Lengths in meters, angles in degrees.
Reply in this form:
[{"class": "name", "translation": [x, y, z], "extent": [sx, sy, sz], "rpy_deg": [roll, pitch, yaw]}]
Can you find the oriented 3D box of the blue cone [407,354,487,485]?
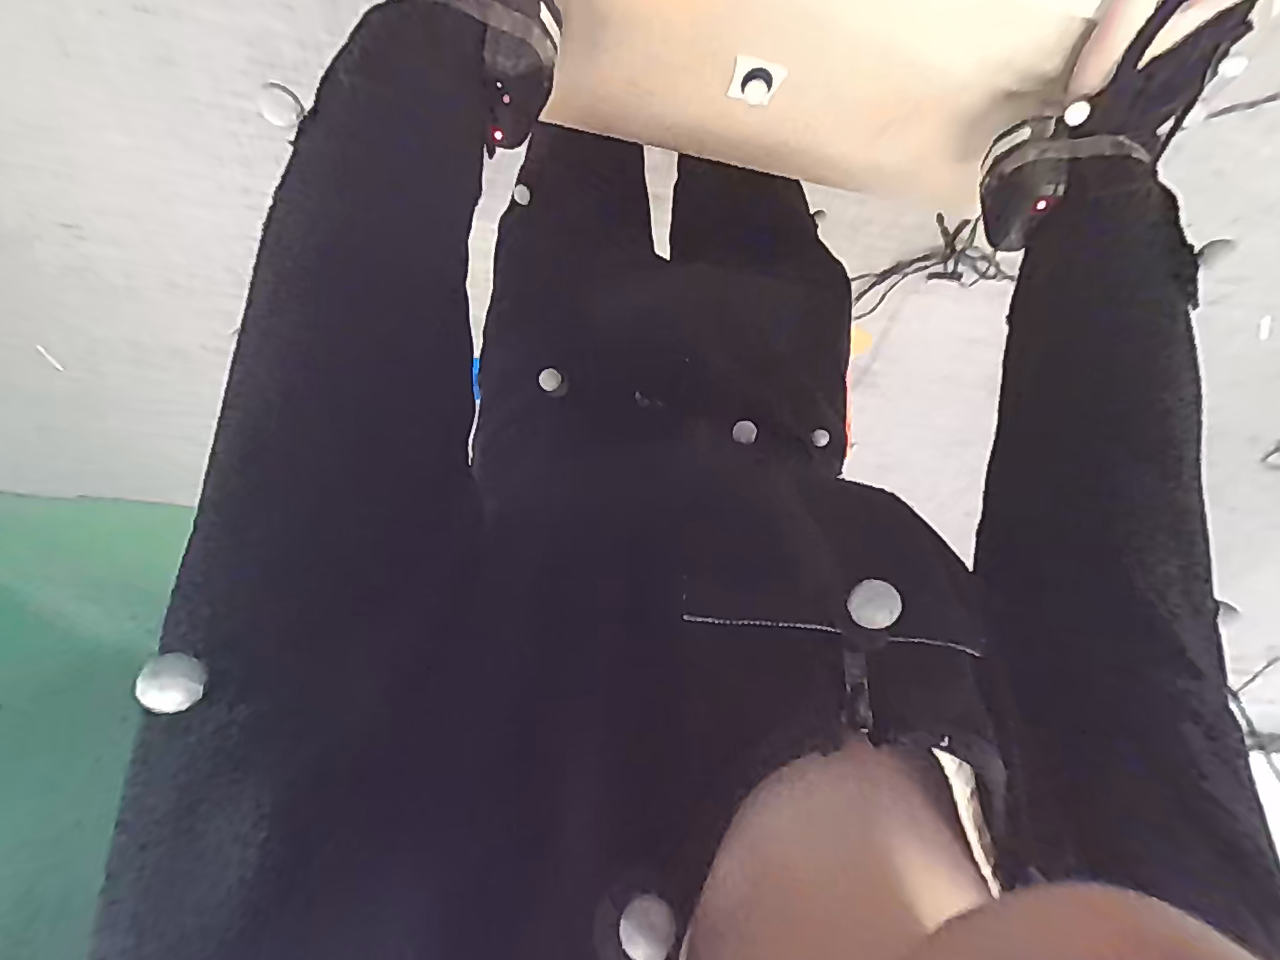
[{"class": "blue cone", "translation": [-0.550, -0.148, 1.469], "extent": [0.192, 0.380, 0.193], "rpy_deg": [9, 145, -7]}]
